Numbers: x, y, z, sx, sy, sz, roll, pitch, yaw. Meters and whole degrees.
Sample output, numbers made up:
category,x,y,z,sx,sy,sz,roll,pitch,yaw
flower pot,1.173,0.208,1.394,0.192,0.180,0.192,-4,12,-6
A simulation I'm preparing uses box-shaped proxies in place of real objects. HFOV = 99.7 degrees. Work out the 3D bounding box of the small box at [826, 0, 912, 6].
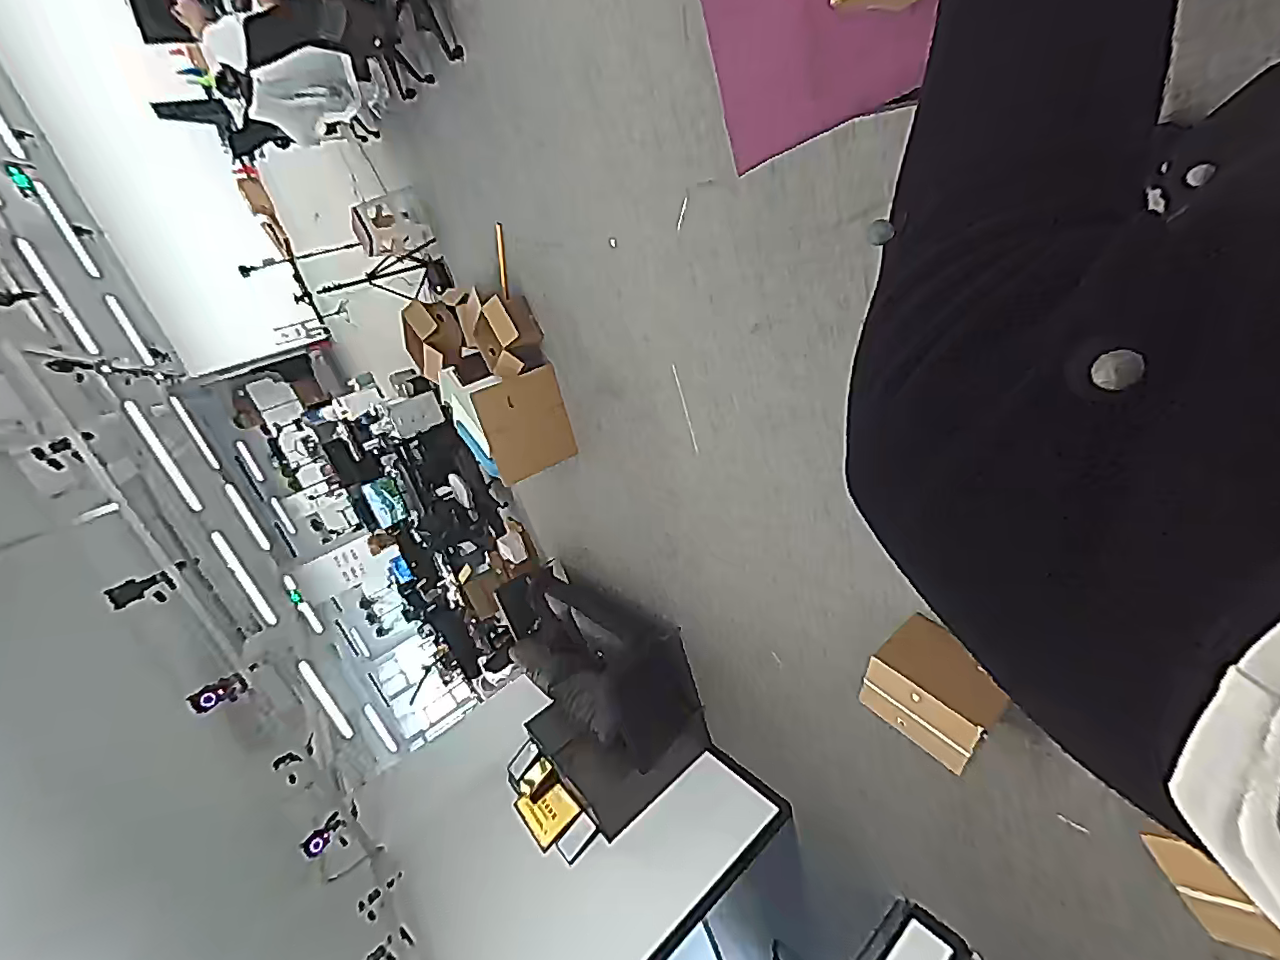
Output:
category,x,y,z,sx,sy,sz,roll,pitch,yaw
small box,0.318,-0.677,0.609,0.179,0.176,0.168,8,122,55

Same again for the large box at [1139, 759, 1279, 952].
category,x,y,z,sx,sy,sz,roll,pitch,yaw
large box,1.640,0.959,1.381,0.320,0.320,0.408,56,150,6
